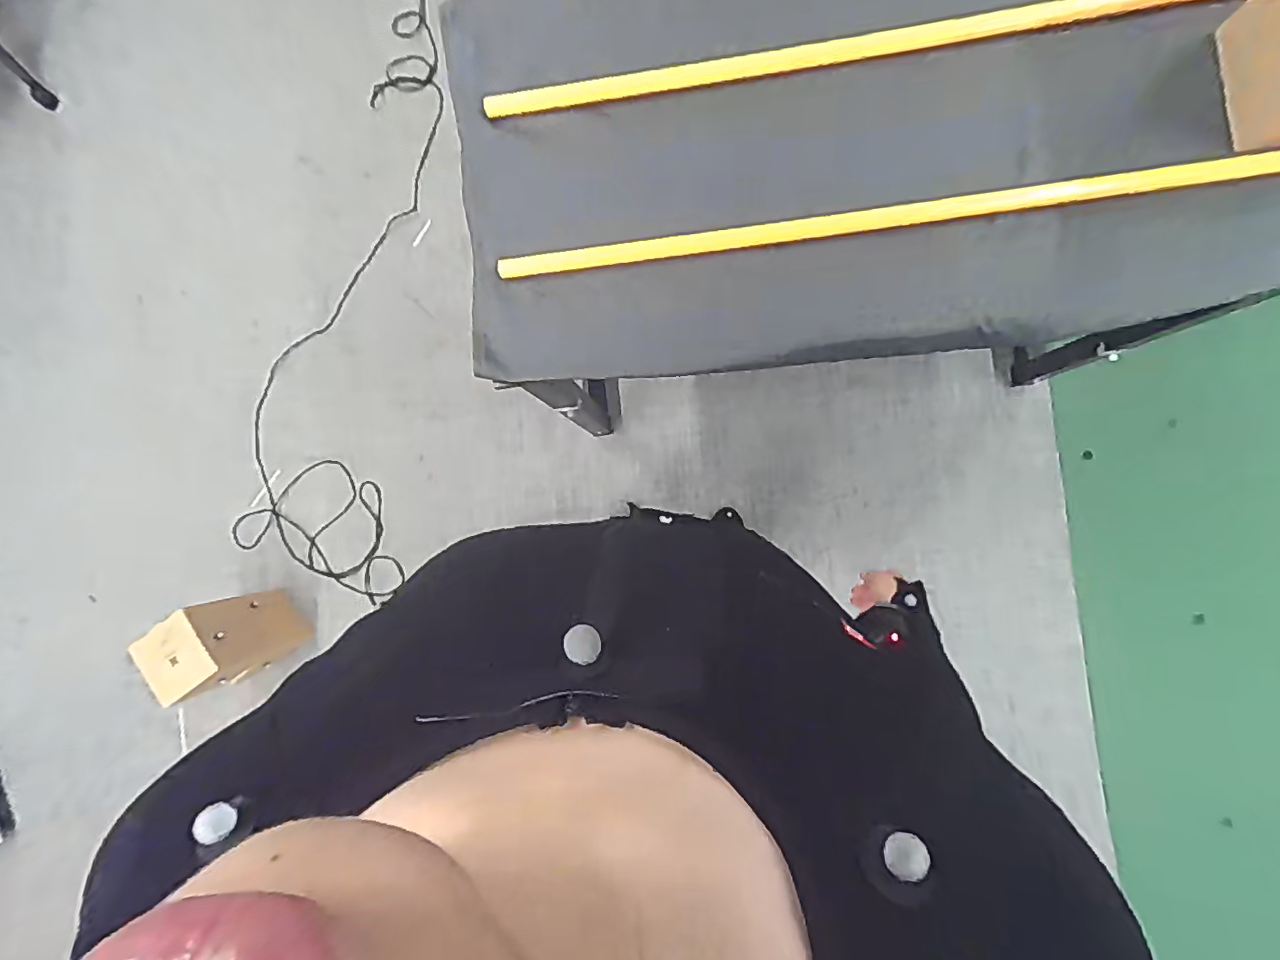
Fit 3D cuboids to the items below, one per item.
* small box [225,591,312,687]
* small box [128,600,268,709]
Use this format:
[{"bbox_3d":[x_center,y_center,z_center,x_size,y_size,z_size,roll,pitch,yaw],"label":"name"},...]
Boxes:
[{"bbox_3d":[-1.064,0.430,1.497,0.168,0.176,0.179,-42,85,2],"label":"small box"},{"bbox_3d":[-1.077,0.420,1.333,0.168,0.176,0.179,-36,85,2],"label":"small box"}]
